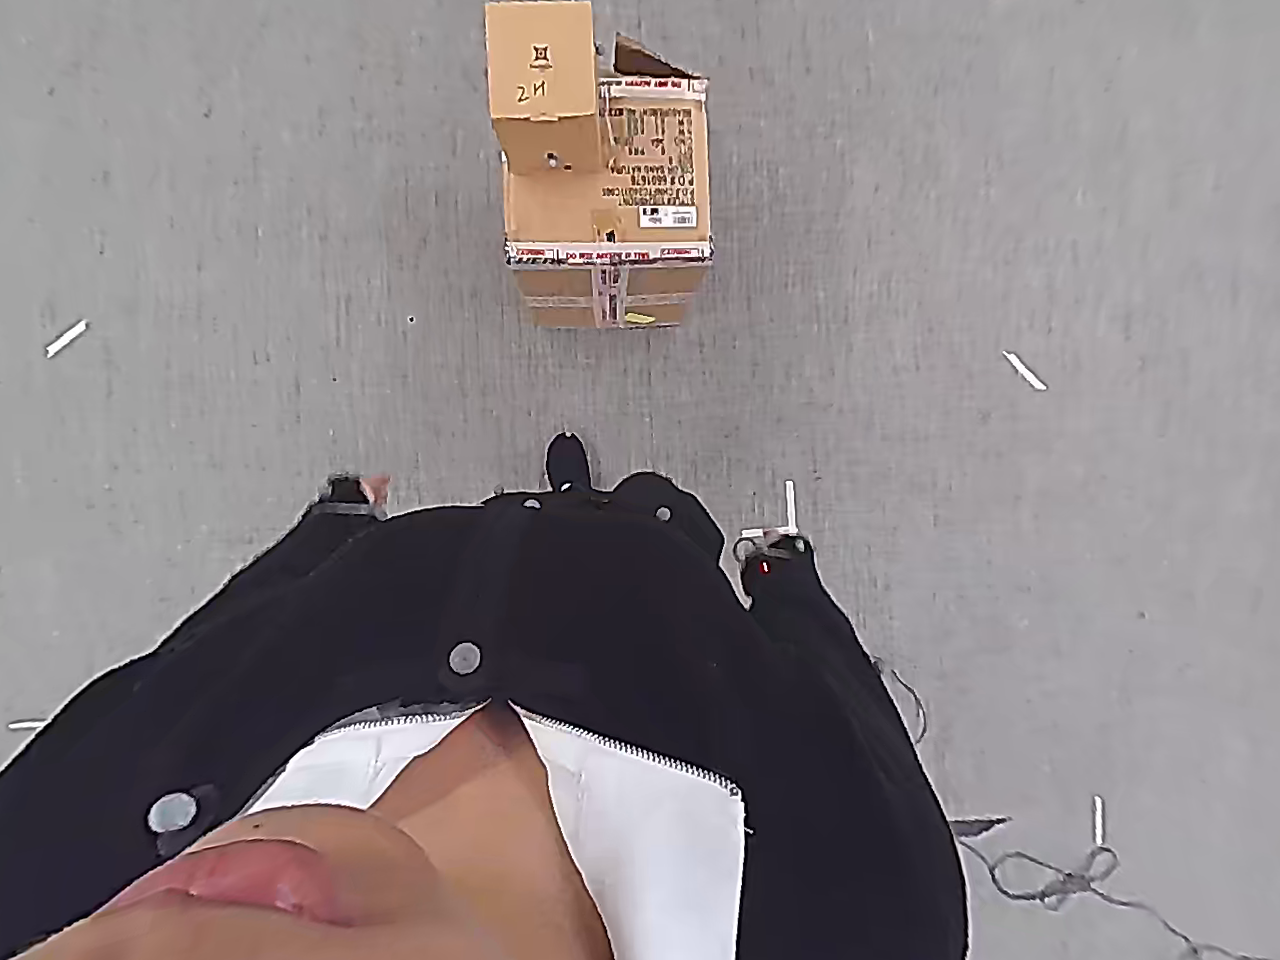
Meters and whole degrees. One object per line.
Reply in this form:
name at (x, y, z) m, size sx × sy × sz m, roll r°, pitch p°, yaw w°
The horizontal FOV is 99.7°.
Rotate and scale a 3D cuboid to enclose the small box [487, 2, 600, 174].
small box at (-0.154, -0.647, 0.909) m, size 0.168 × 0.176 × 0.179 m, roll -2°, pitch 94°, yaw -1°
